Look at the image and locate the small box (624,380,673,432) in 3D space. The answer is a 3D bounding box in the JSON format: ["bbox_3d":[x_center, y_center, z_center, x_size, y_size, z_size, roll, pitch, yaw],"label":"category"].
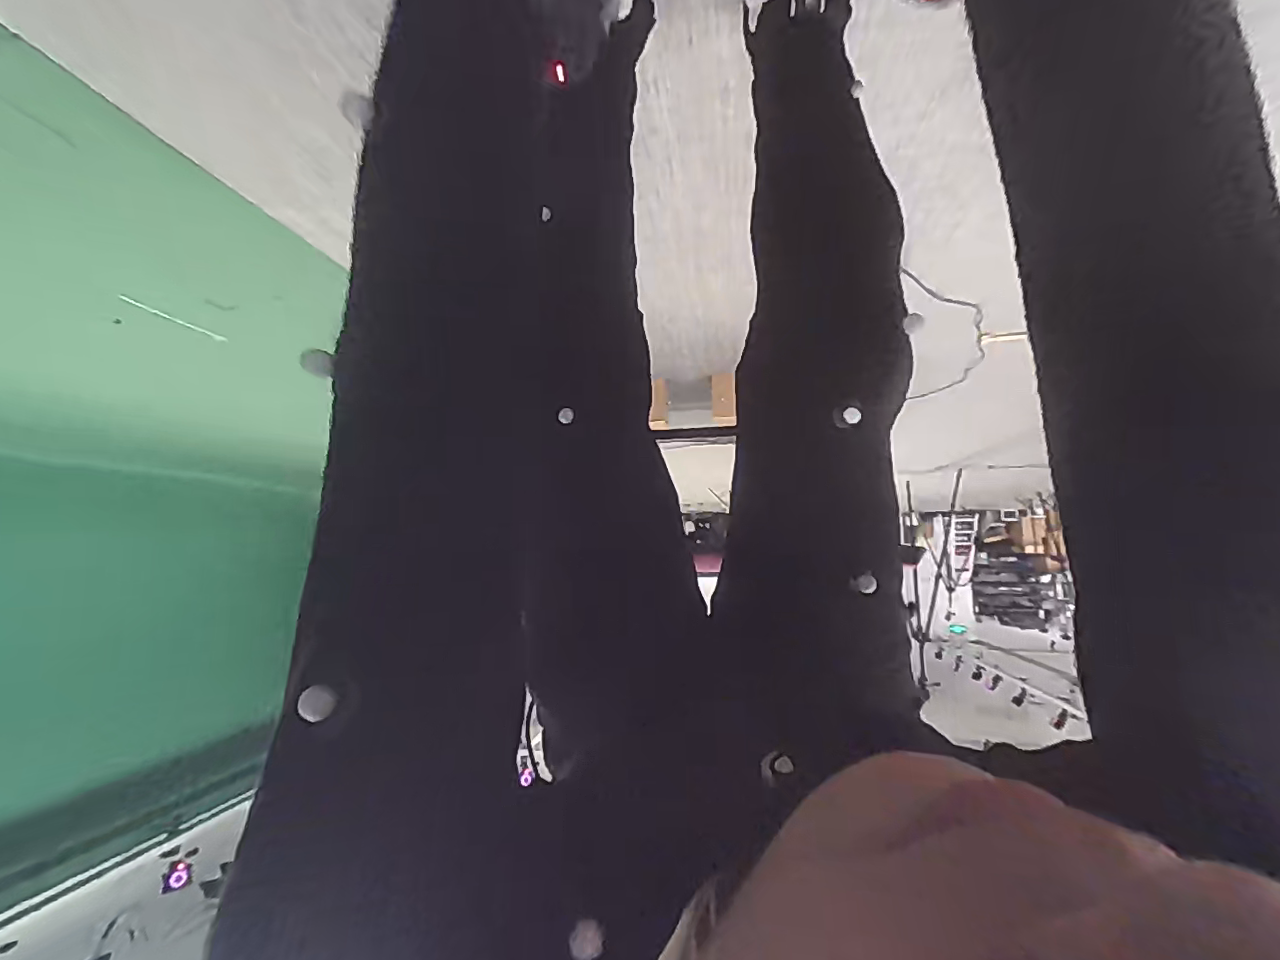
[{"bbox_3d":[0.034,-0.291,2.140,0.179,0.176,0.168,-2,172,9],"label":"small box"}]
